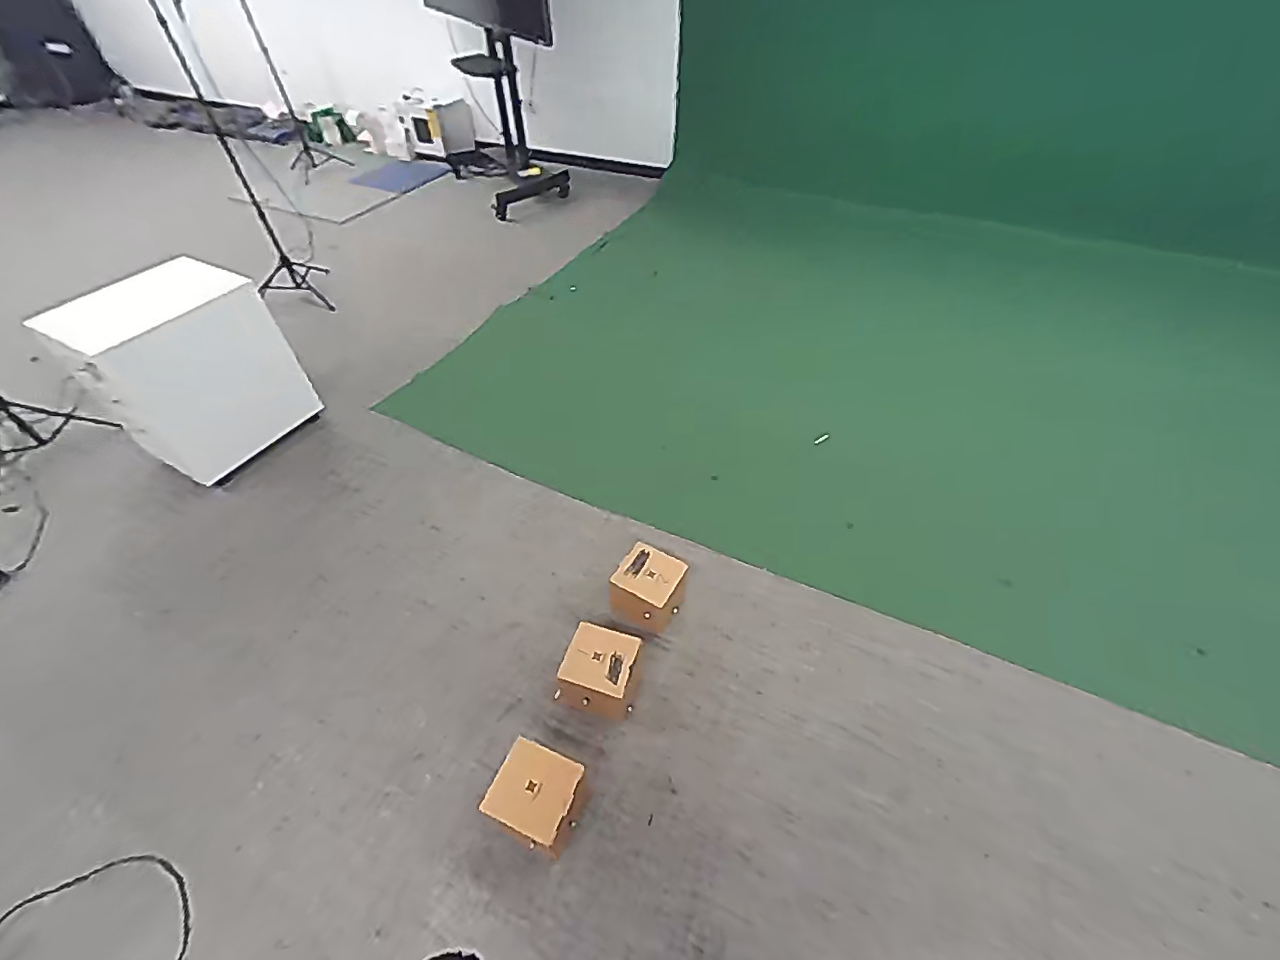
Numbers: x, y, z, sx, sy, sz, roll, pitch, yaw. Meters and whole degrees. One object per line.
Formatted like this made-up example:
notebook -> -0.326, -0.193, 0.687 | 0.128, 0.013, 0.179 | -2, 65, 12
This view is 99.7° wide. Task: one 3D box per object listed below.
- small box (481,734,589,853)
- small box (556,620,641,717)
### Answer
small box -> -0.229, 0.716, 1.229 | 0.179, 0.176, 0.168 | 17, 50, 15
small box -> -0.102, 0.502, 1.427 | 0.179, 0.176, 0.168 | 13, 48, 13
